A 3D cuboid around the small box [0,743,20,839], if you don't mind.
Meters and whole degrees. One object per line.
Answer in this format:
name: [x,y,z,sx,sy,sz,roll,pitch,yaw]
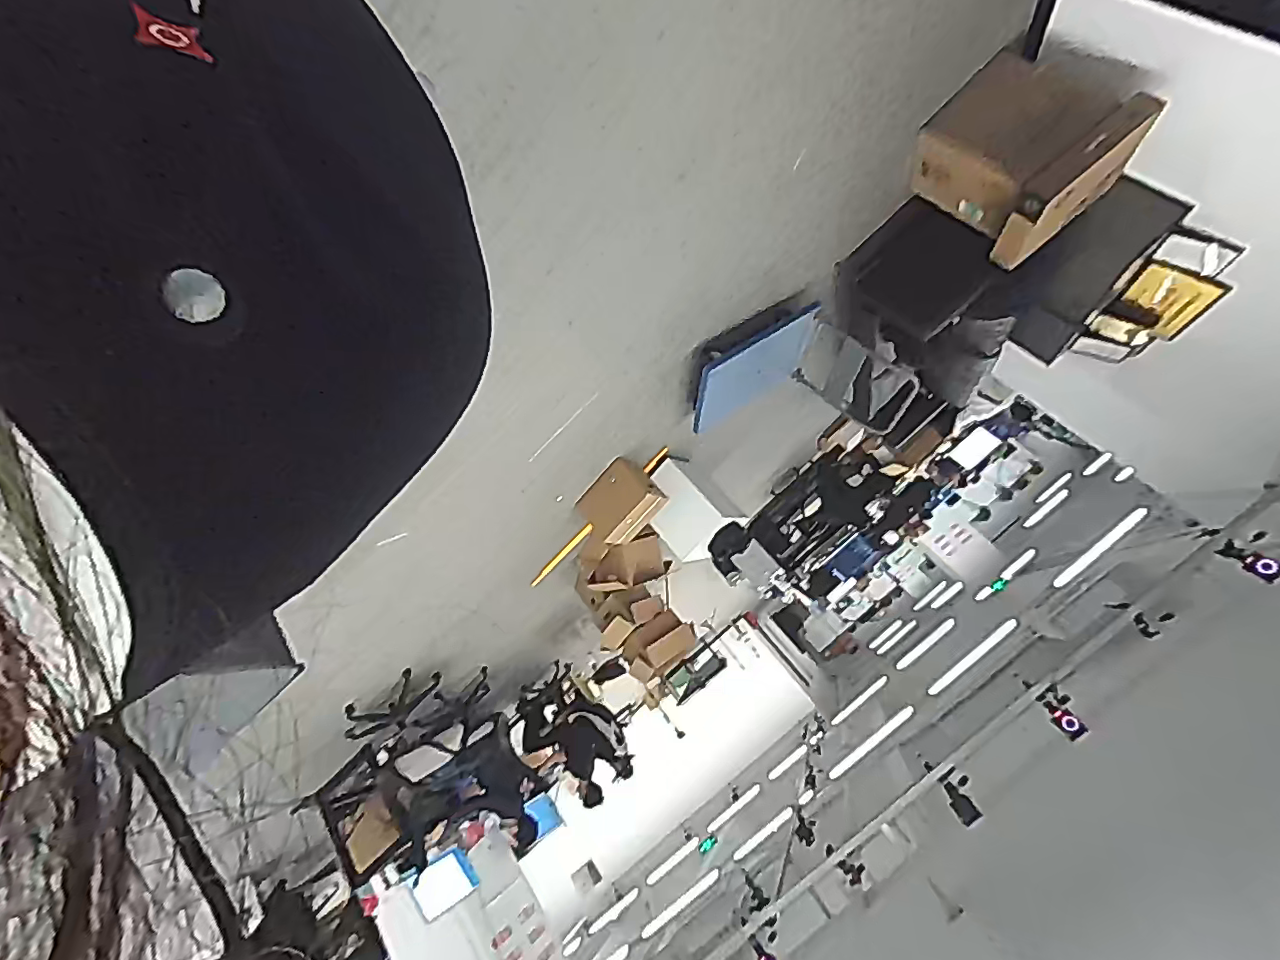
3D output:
small box: [-1.121,0.518,0.824,0.179,0.176,0.168,-42,156,6]
